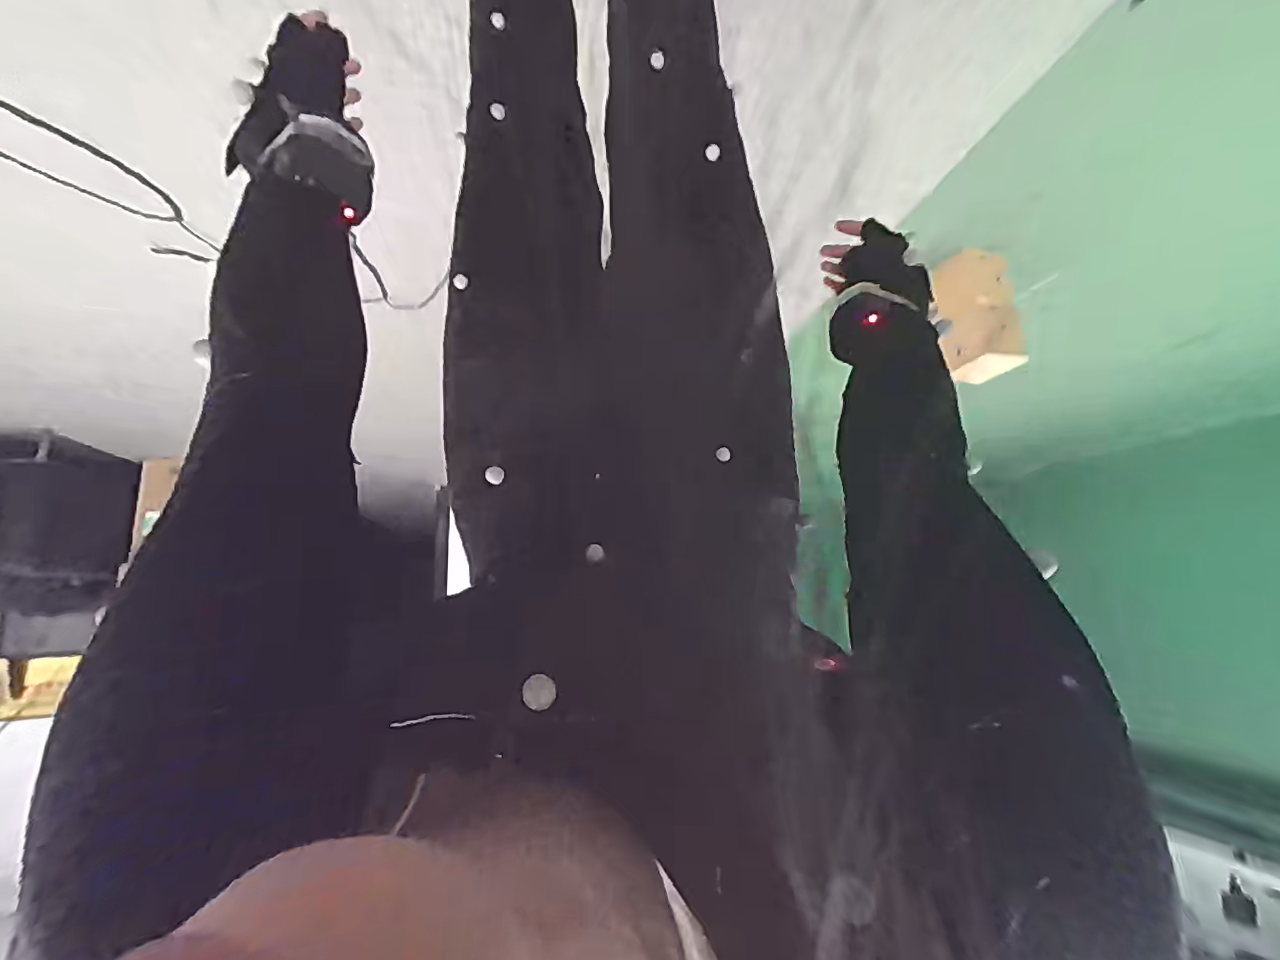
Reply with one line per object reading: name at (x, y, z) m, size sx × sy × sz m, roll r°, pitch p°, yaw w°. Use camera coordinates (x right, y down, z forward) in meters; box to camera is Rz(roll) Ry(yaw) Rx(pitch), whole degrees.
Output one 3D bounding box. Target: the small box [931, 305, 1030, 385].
small box at (0.985, -0.393, 1.578) m, size 0.168 × 0.176 × 0.179 m, roll 1°, pitch 168°, yaw -15°
